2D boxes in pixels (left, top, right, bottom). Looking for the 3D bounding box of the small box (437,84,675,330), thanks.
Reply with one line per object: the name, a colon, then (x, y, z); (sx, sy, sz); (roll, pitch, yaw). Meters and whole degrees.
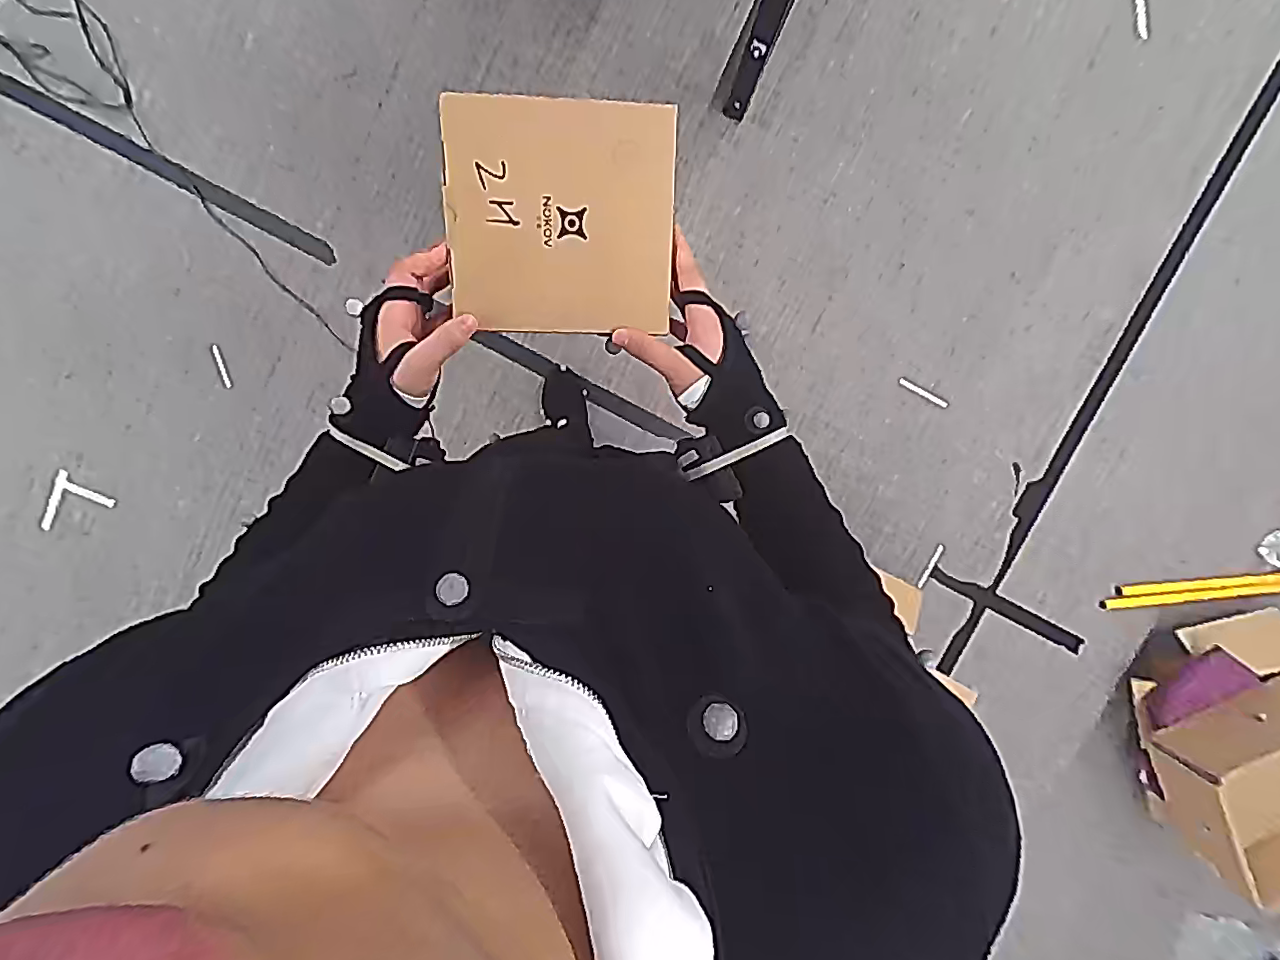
small box: (-0.069, -0.226, 0.492); (0.179, 0.176, 0.168); (1, 105, -4)
